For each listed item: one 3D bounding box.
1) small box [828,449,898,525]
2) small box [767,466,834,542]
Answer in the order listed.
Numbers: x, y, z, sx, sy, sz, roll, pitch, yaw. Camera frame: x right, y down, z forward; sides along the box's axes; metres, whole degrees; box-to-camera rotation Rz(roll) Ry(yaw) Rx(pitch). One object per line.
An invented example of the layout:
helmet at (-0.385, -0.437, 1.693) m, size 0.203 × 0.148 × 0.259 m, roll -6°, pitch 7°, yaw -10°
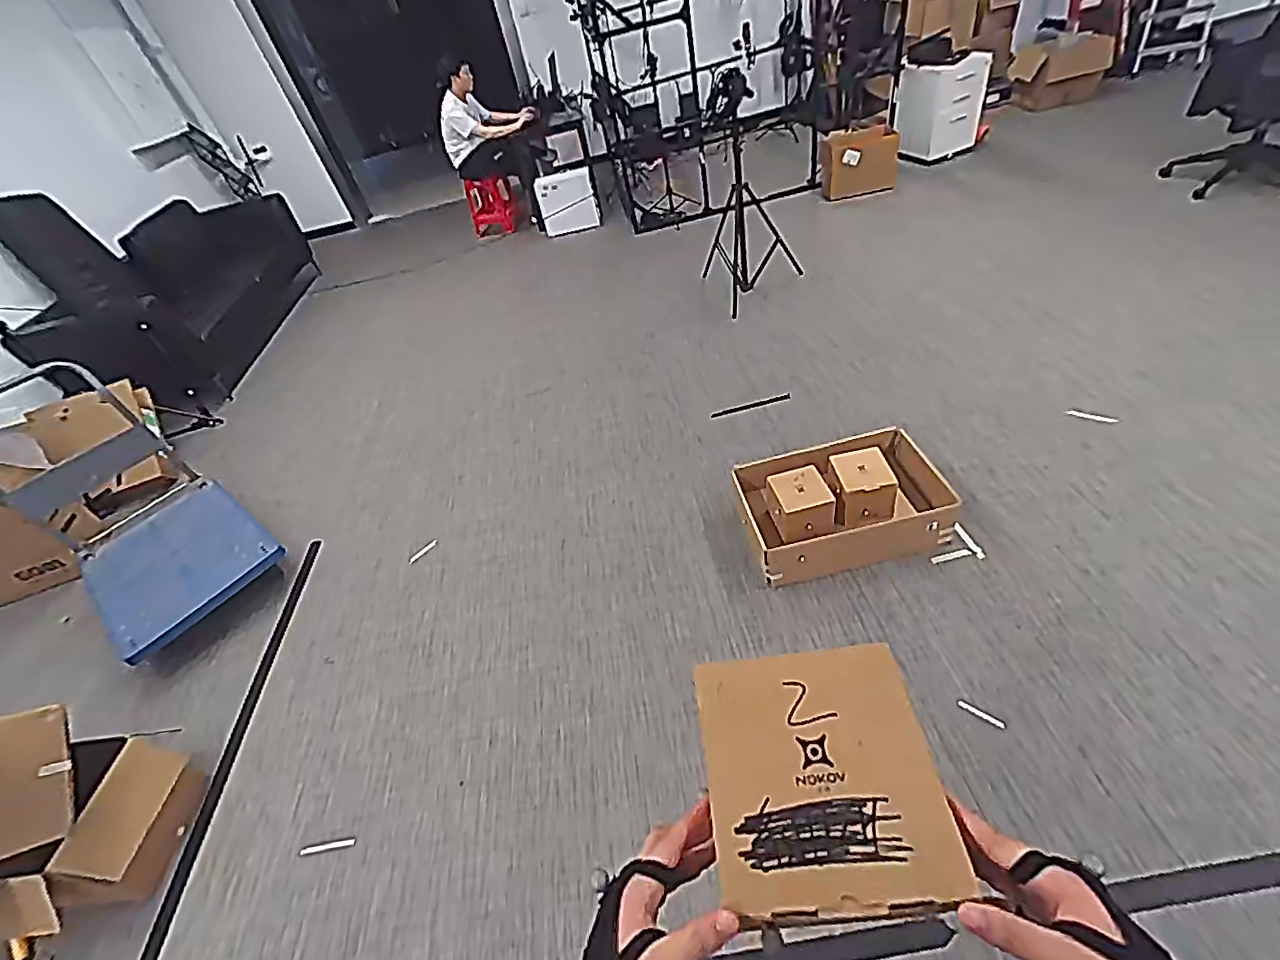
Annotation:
small box at (0.740, 0.024, 1.815) m, size 0.168 × 0.176 × 0.179 m, roll -11°, pitch 44°, yaw 5°
small box at (0.532, 0.087, 1.803) m, size 0.168 × 0.176 × 0.179 m, roll -14°, pitch 43°, yaw -1°
